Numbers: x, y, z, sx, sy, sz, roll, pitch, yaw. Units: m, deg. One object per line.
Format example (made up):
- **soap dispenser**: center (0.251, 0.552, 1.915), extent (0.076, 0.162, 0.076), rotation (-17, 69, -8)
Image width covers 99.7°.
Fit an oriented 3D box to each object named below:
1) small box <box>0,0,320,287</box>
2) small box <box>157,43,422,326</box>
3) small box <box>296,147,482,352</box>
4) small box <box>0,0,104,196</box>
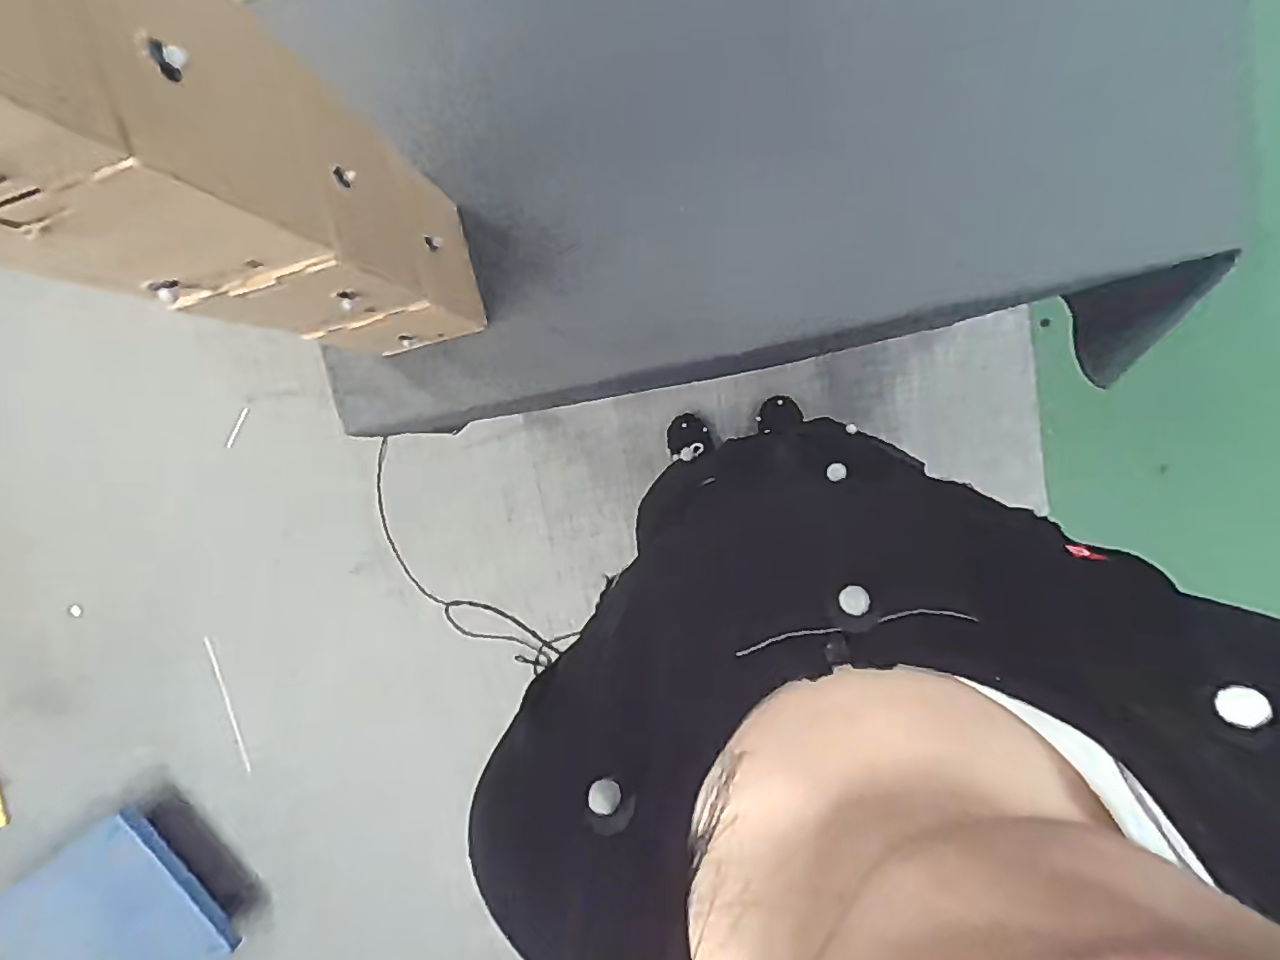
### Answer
- **small box**: center (-0.355, -0.242, 0.360), extent (0.168, 0.176, 0.179), rotation (-14, 96, 6)
- **small box**: center (-0.338, -0.256, 0.522), extent (0.168, 0.176, 0.179), rotation (-12, 96, 6)
- **small box**: center (-0.323, -0.273, 0.683), extent (0.168, 0.176, 0.179), rotation (-13, 96, 7)
- **small box**: center (-0.373, -0.220, 0.197), extent (0.168, 0.176, 0.179), rotation (-15, 96, 7)
